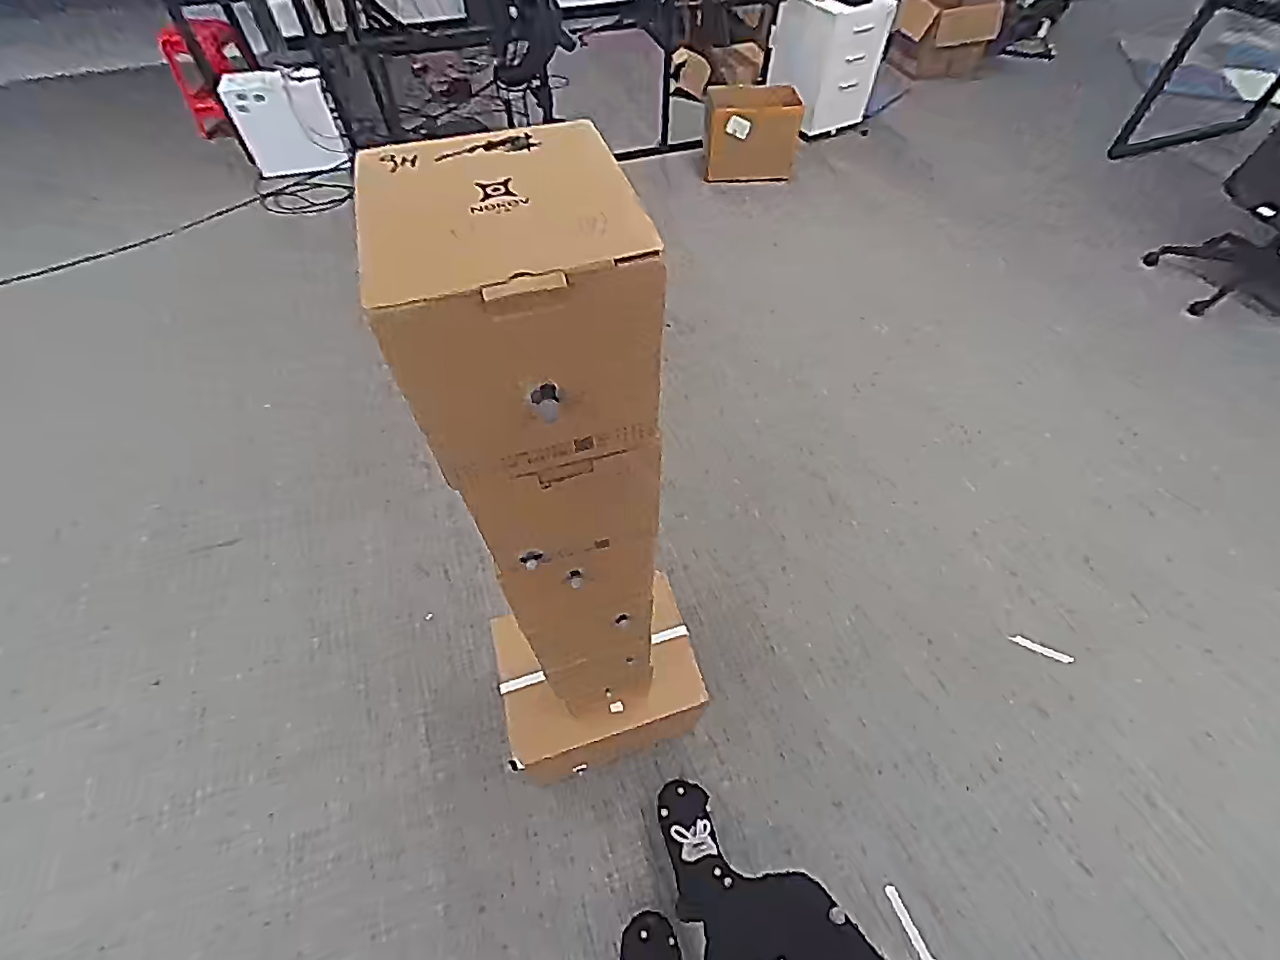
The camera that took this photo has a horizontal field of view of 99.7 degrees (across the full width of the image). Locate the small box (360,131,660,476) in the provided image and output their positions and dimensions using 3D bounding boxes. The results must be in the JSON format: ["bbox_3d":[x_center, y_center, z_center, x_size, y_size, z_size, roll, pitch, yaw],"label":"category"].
[{"bbox_3d":[-0.088,-0.120,0.403,0.168,0.176,0.179,-14,58,-10],"label":"small box"}]

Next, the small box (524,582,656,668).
[{"bbox_3d":[-0.085,0.159,0.805,0.179,0.176,0.168,-14,56,-10],"label":"small box"}]

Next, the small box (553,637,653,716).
[{"bbox_3d":[-0.083,0.348,1.074,0.179,0.176,0.168,-16,58,-12],"label":"small box"}]

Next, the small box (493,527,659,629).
[{"bbox_3d":[-0.085,0.065,0.674,0.179,0.176,0.168,-13,57,-9],"label":"small box"}]

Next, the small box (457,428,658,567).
[{"bbox_3d":[-0.083,-0.030,0.540,0.168,0.176,0.179,-13,56,-9],"label":"small box"}]
